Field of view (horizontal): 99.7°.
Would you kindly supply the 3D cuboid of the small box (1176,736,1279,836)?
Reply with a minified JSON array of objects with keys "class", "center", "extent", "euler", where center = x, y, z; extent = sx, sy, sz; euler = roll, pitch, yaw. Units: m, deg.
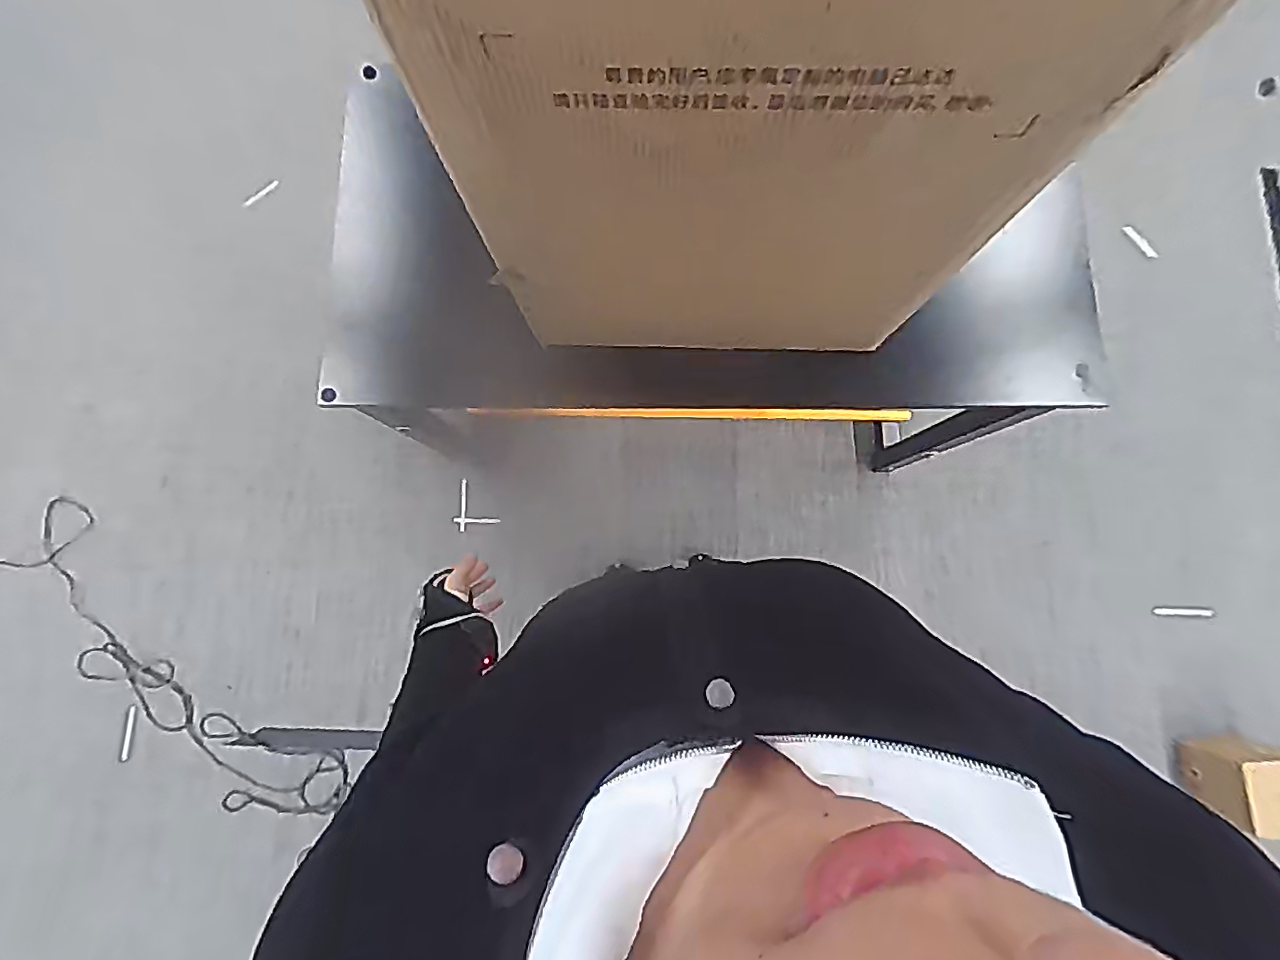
[{"class":"small box","center":[1.494,0.742,1.327],"extent":[0.179,0.176,0.168],"euler":[-4,81,2]}]
